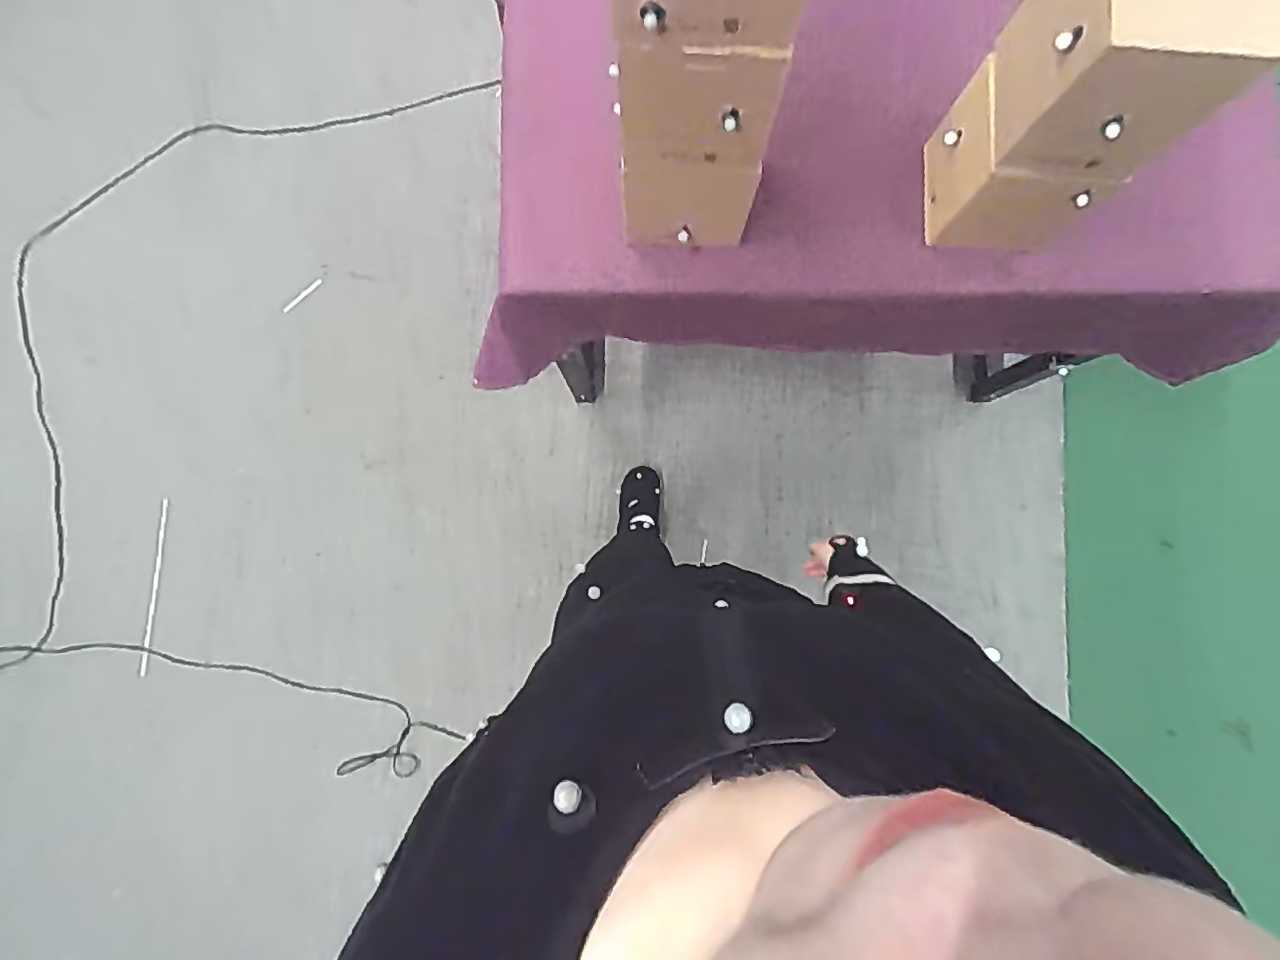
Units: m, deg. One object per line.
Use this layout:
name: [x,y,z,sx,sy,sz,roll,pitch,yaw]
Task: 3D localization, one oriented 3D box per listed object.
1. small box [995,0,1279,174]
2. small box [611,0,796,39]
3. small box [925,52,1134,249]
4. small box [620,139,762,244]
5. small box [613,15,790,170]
small box: [0.515,-0.464,0.581,0.168,0.176,0.179,5,83,1]
small box: [0.056,-0.495,0.426,0.168,0.176,0.179,1,83,0]
small box: [0.517,-0.440,0.744,0.179,0.176,0.168,3,84,1]
small box: [0.065,-0.448,0.751,0.179,0.176,0.168,2,83,0]
small box: [0.064,-0.471,0.589,0.168,0.176,0.179,4,83,1]
